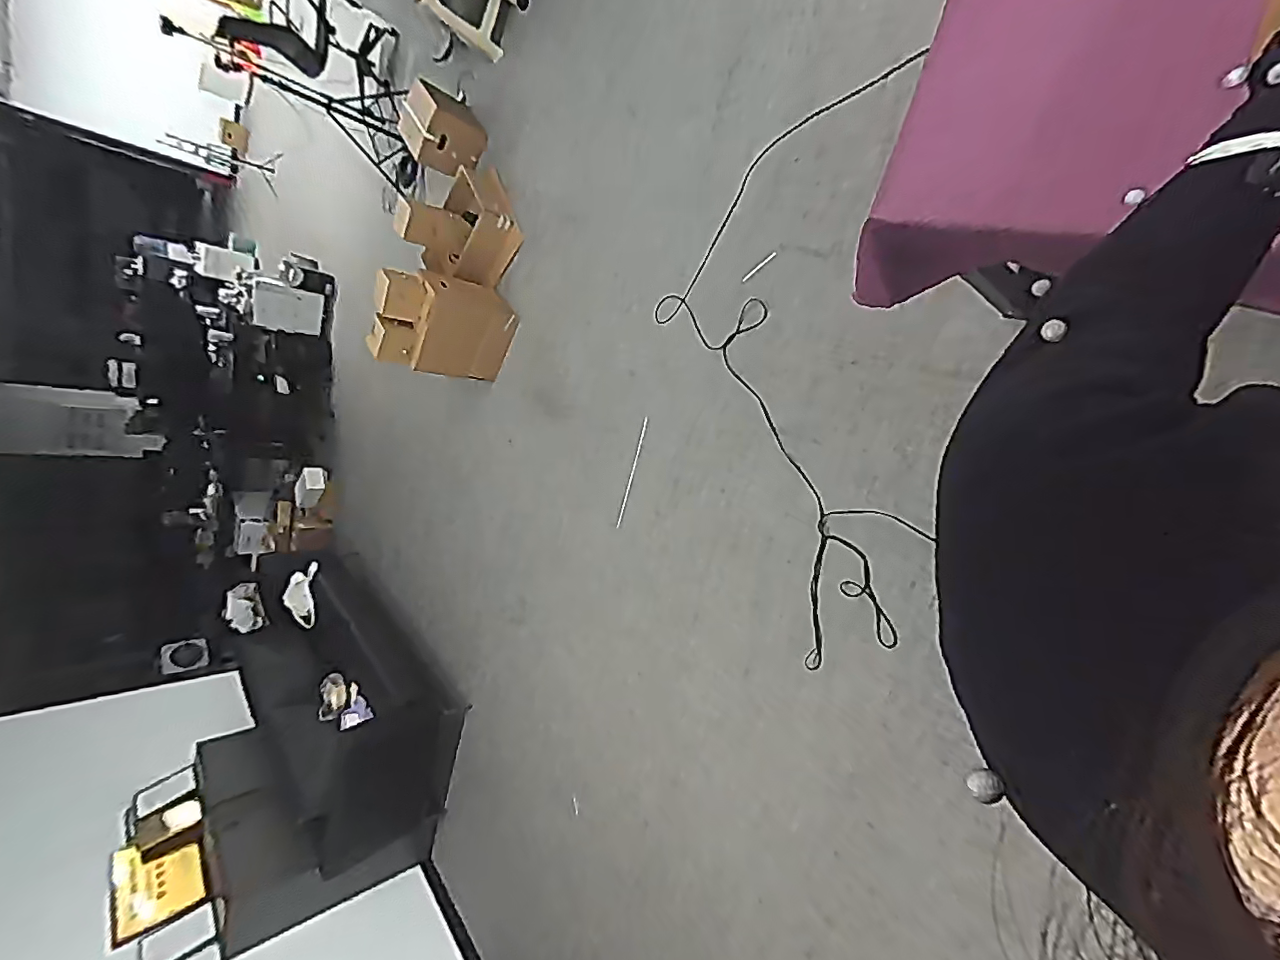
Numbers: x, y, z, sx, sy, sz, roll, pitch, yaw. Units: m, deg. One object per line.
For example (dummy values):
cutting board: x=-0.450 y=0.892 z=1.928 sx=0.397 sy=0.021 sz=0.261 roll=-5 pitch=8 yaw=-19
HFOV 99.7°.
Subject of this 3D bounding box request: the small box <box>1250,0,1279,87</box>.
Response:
small box: x=0.647 y=-0.446 z=0.427 sx=0.168 sy=0.176 sz=0.179 roll=39 pitch=116 yaw=38
